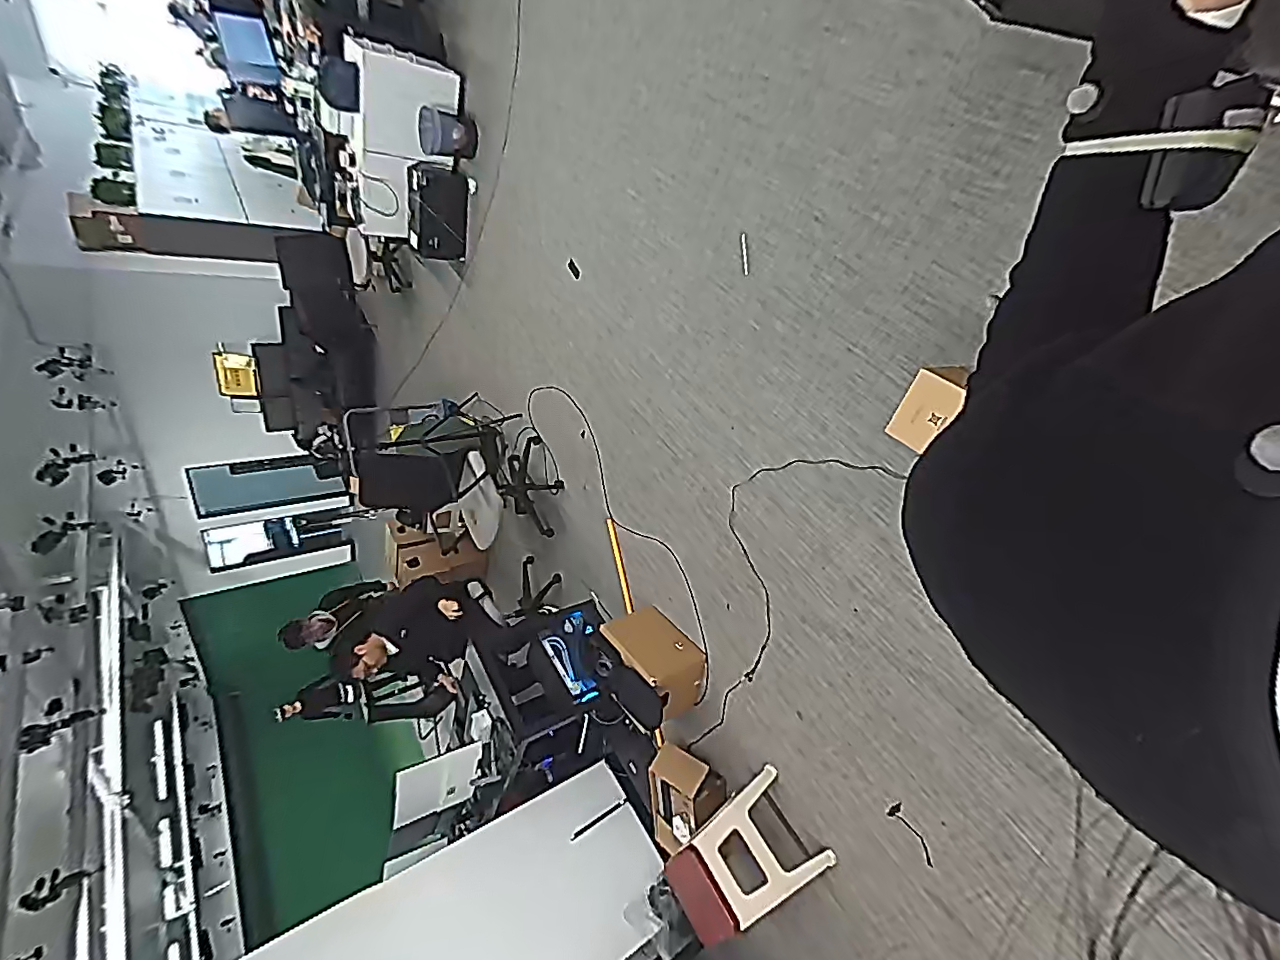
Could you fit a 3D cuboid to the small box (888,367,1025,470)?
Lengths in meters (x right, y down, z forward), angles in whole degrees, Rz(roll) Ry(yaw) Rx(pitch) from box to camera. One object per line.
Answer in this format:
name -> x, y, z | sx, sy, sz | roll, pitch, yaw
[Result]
small box -> 0.706, -0.146, 1.206 | 0.179, 0.176, 0.168 | 46, 132, 37
